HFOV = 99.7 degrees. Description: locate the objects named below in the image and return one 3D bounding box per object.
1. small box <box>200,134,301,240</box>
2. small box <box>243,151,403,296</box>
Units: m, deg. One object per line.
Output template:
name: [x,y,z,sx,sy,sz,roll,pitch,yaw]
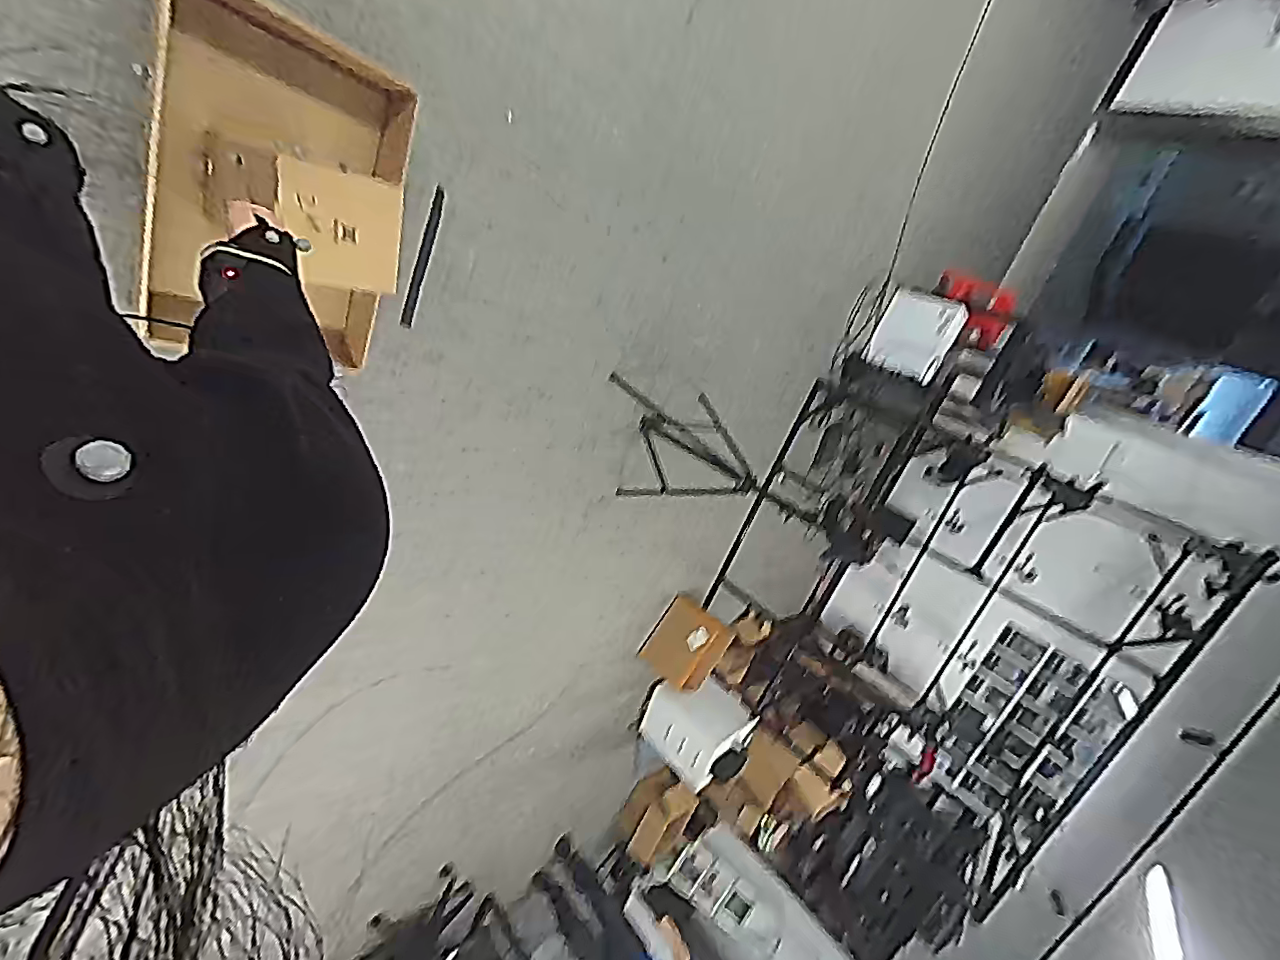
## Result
small box: [-0.735,-0.558,1.060,0.179,0.176,0.168,-5,120,-46]
small box: [-0.510,-0.410,0.870,0.179,0.176,0.168,-9,122,-47]
